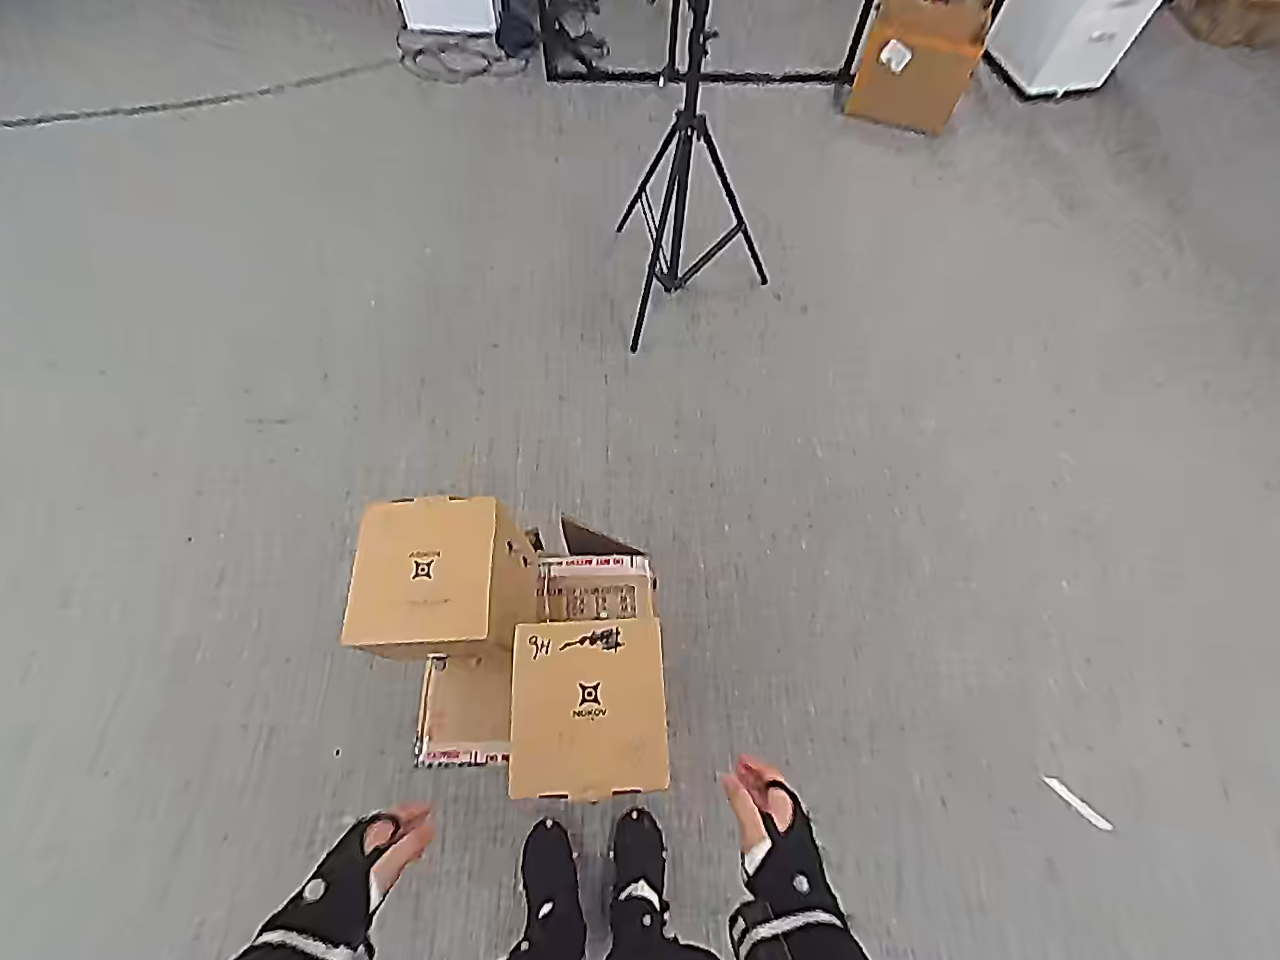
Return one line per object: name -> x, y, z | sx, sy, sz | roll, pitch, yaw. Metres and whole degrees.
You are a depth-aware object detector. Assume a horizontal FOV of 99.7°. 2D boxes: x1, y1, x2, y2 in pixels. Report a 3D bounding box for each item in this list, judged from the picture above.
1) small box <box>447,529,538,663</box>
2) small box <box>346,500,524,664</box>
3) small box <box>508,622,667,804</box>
small box -> -0.260, 0.189, 0.867 | 0.168, 0.176, 0.179 | -2, 65, -1
small box -> -0.251, 0.139, 0.711 | 0.168, 0.176, 0.179 | -3, 66, -1
small box -> -0.057, 0.274, 0.651 | 0.168, 0.176, 0.179 | -2, 66, -3
